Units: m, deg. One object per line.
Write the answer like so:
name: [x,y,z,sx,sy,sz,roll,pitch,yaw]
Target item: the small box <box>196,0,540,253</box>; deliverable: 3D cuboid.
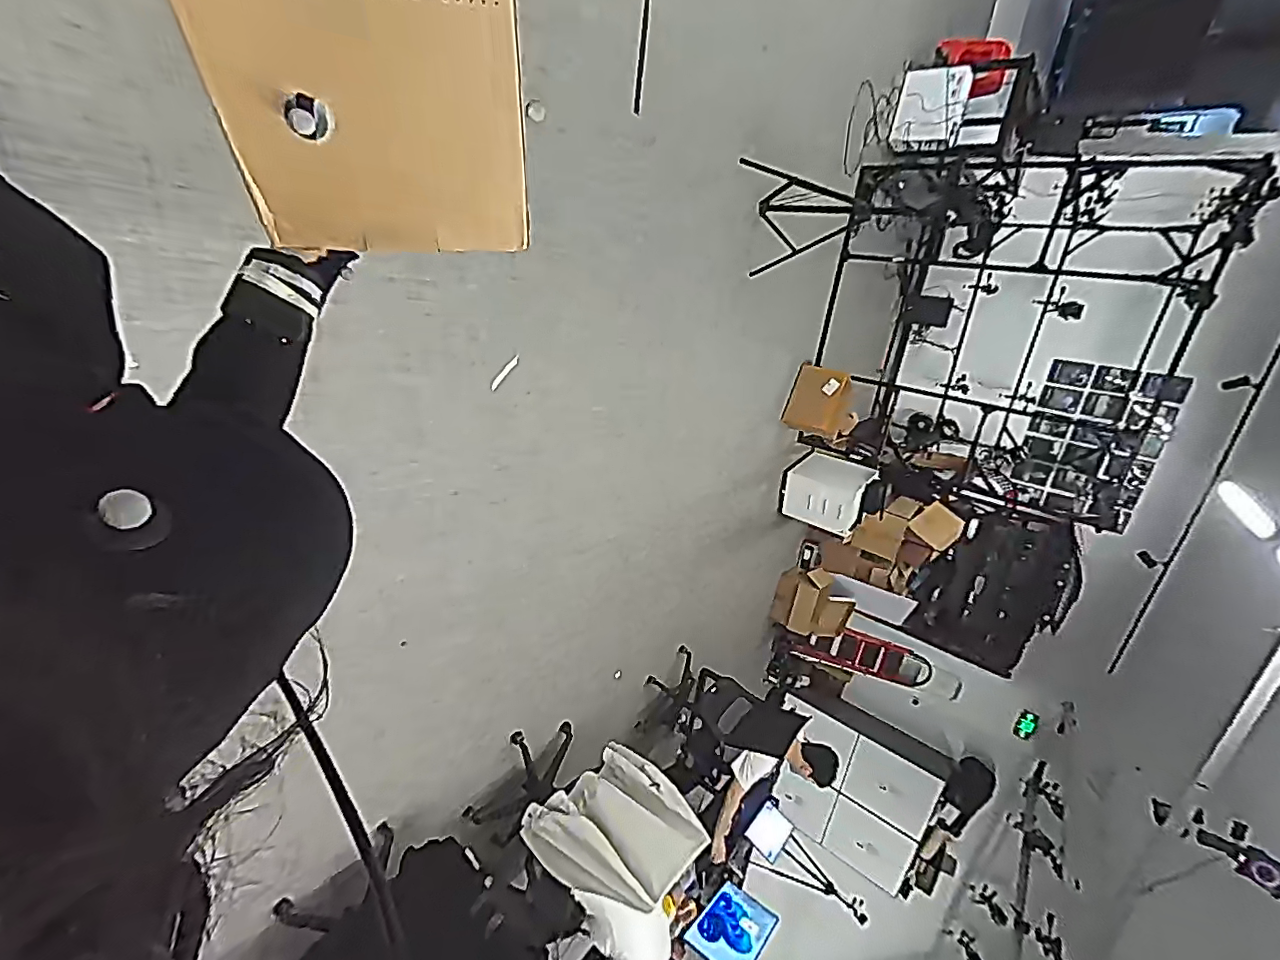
small box: [-0.155,-0.270,0.355,0.168,0.179,0.176,-2,138,-11]
